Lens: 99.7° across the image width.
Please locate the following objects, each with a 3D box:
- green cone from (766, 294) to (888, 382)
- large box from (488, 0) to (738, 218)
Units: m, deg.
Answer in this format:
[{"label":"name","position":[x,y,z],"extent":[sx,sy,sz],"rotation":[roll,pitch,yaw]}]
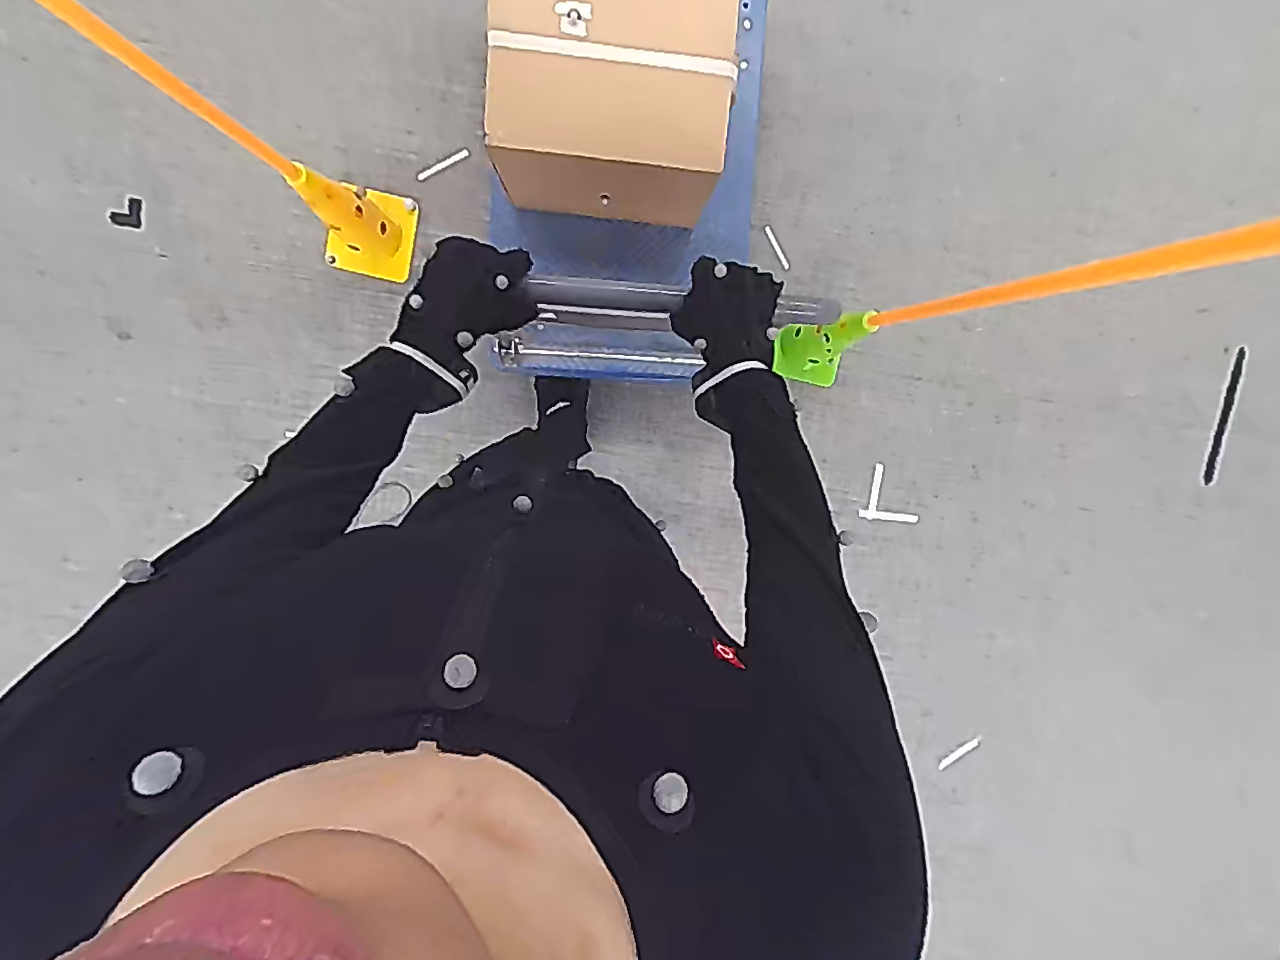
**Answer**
[{"label":"green cone","position":[0.463,-0.350,1.267],"extent":[0.202,0.368,0.200],"rotation":[13,97,-7]},{"label":"large box","position":[-0.051,-0.721,1.033],"extent":[0.408,0.320,0.320],"rotation":[4,99,-4]}]
